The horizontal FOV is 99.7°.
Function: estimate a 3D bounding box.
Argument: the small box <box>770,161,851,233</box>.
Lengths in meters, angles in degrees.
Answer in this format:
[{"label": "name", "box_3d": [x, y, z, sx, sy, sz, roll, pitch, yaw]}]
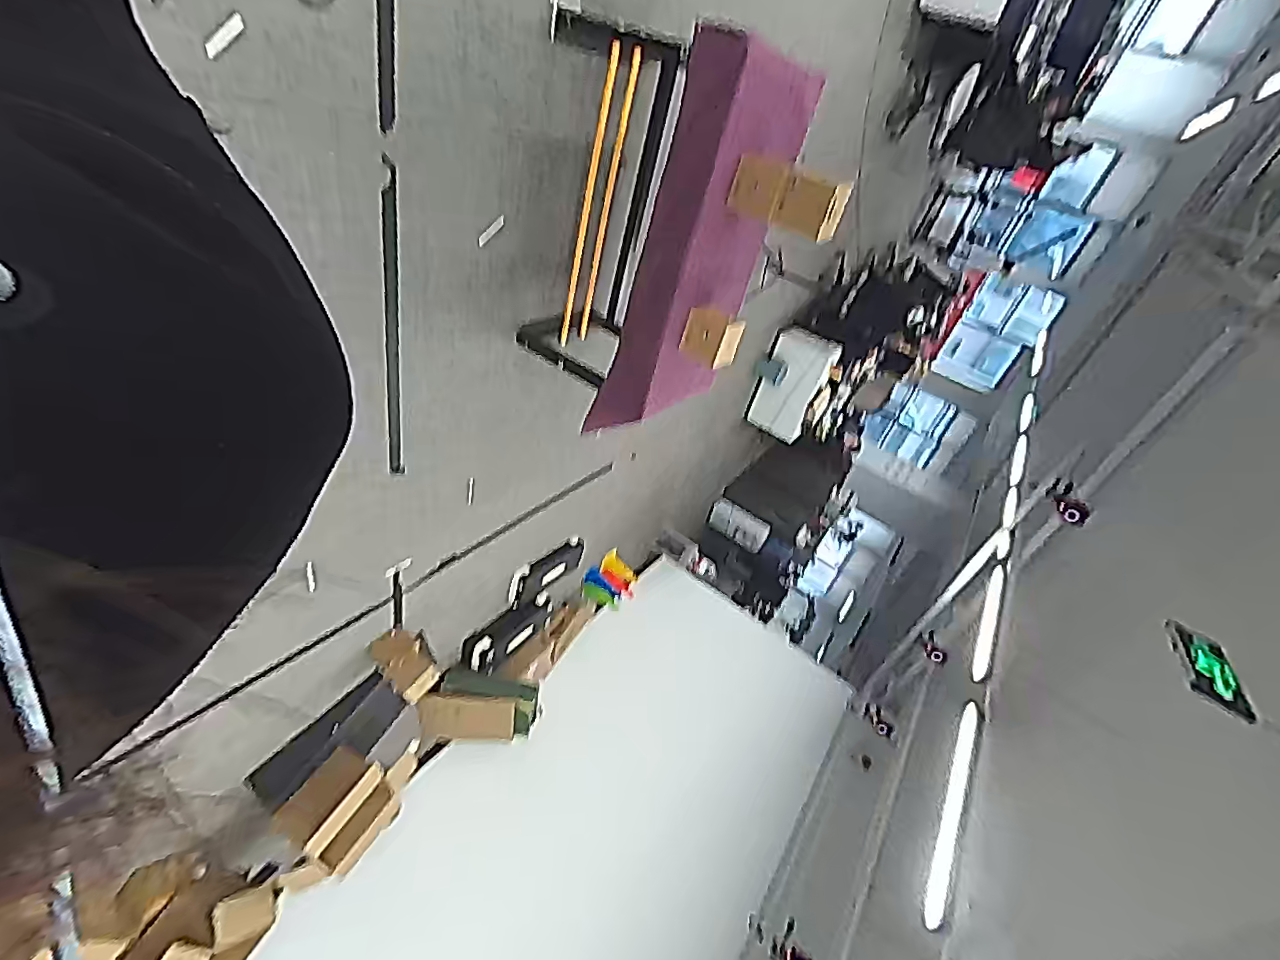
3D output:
[{"label": "small box", "box_3d": [0.545, -0.914, 1.745, 0.179, 0.176, 0.168, -36, 151, -46]}]

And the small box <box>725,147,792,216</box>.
[{"label": "small box", "box_3d": [0.408, -0.989, 1.797, 0.179, 0.176, 0.168, -32, 148, -49]}]

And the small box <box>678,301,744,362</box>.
[{"label": "small box", "box_3d": [0.269, -0.578, 2.084, 0.179, 0.176, 0.168, -33, 148, -49]}]
